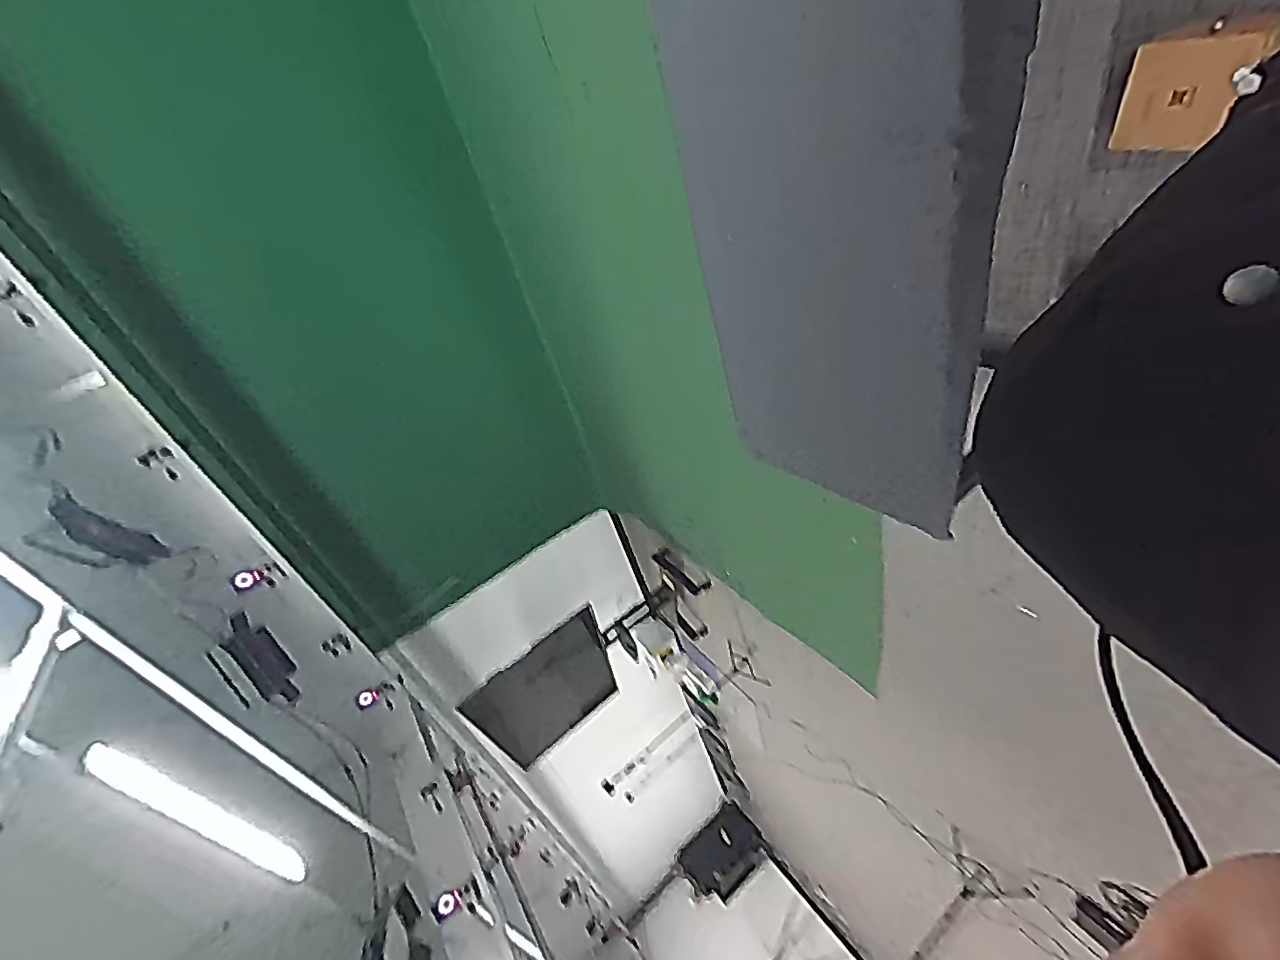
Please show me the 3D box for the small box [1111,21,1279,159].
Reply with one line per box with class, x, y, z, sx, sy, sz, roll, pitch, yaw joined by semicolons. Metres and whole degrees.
small box;1.007;-0.690;0.964;0.179;0.176;0.168;36;151;46
